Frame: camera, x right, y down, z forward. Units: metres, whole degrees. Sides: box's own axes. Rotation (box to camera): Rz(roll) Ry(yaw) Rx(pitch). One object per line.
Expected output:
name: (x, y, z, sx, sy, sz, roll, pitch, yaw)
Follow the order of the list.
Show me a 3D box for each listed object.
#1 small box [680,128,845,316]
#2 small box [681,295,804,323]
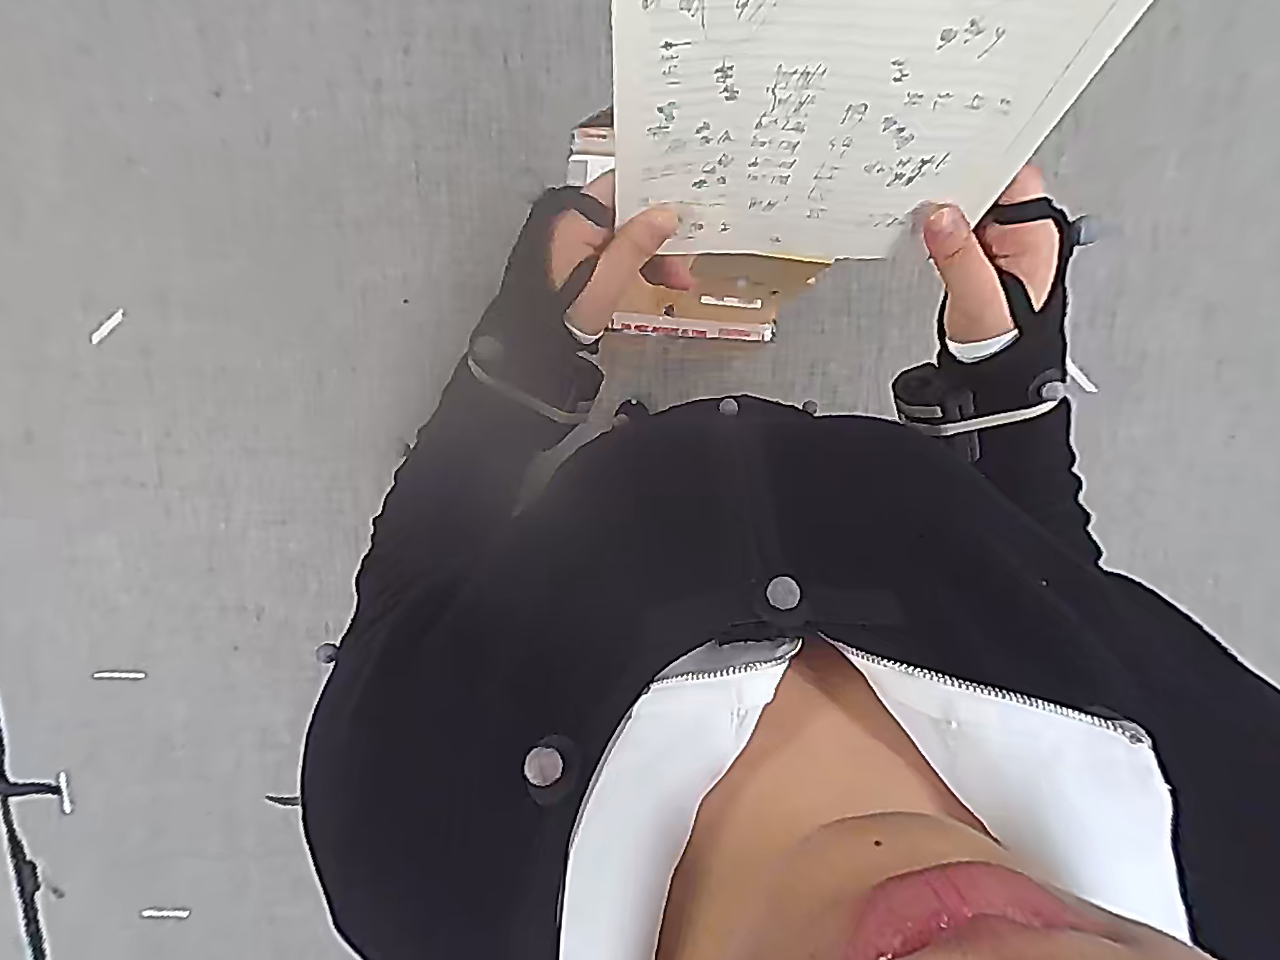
small box: (0.149, -0.328, 0.724, 0.168, 0.176, 0.179, 6, 100, -2)
small box: (0.166, -0.355, 0.886, 0.179, 0.176, 0.168, 3, 99, -1)
